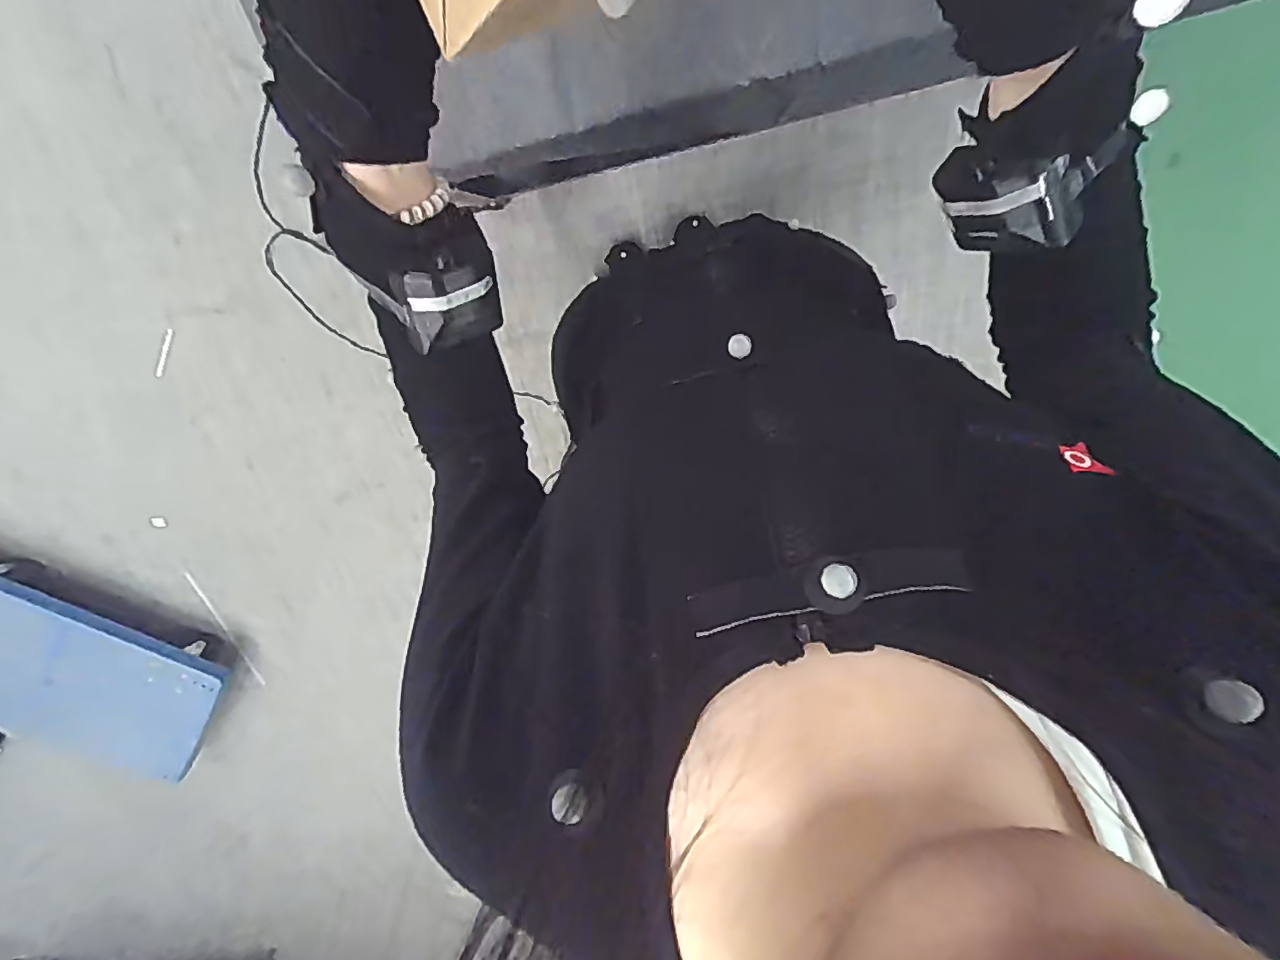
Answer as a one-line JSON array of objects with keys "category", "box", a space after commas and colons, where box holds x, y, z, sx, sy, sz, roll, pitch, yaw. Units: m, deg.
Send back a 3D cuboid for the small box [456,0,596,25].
[{"category": "small box", "box": [-0.005, -0.275, 0.159, 0.176, 0.179, 0.168, -39, 125, -21]}]
